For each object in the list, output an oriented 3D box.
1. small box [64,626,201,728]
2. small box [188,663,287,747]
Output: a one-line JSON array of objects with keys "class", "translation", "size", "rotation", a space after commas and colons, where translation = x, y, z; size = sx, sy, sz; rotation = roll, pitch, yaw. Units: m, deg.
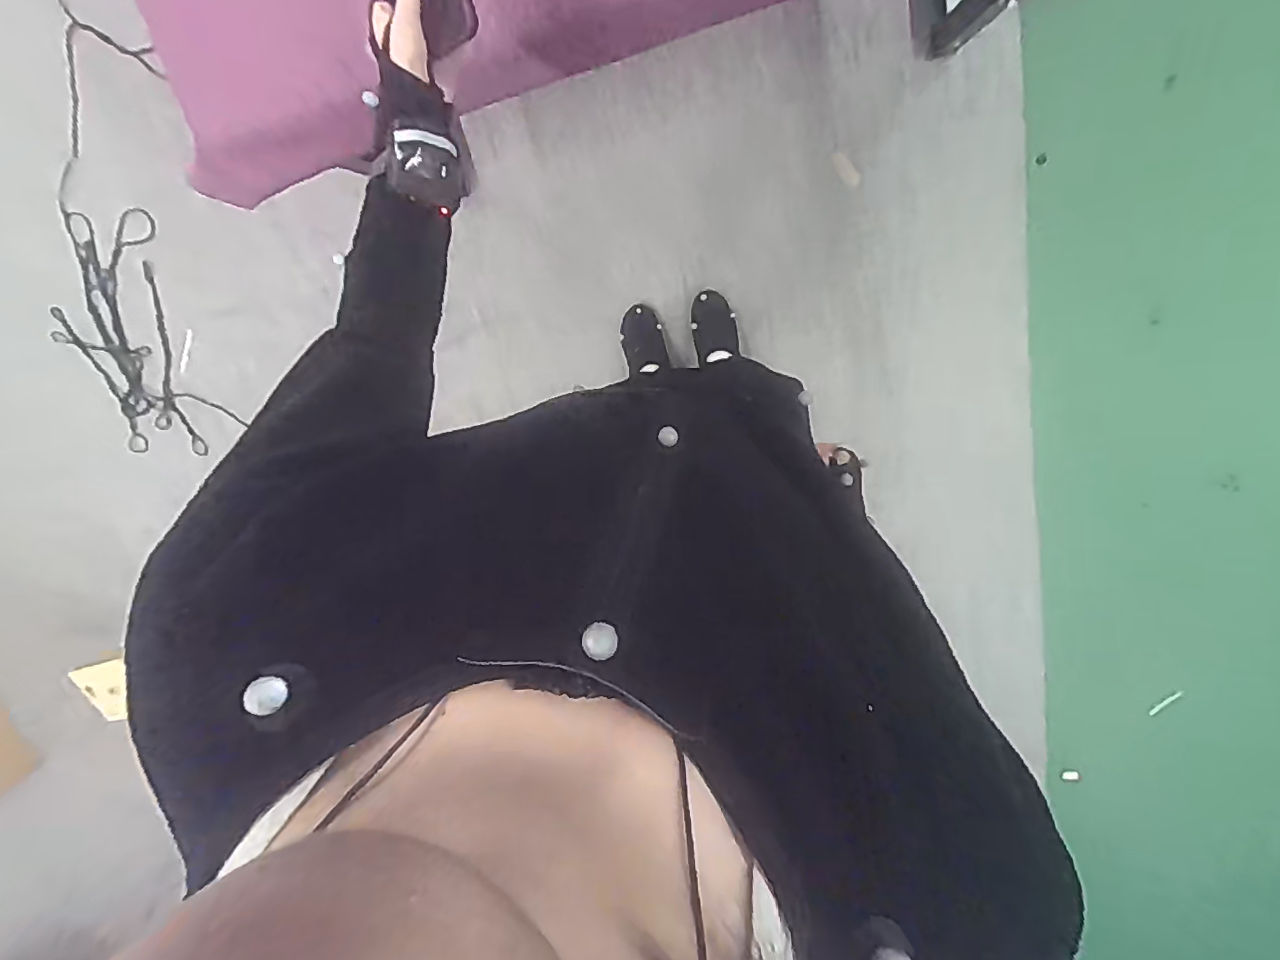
[{"class": "small box", "translation": [-1.313, 0.510, 1.421], "size": [0.179, 0.176, 0.168], "rotation": [-17, 108, 9]}, {"class": "small box", "translation": [-1.221, 0.693, 1.657], "size": [0.168, 0.176, 0.179], "rotation": [4, 109, 5]}]
